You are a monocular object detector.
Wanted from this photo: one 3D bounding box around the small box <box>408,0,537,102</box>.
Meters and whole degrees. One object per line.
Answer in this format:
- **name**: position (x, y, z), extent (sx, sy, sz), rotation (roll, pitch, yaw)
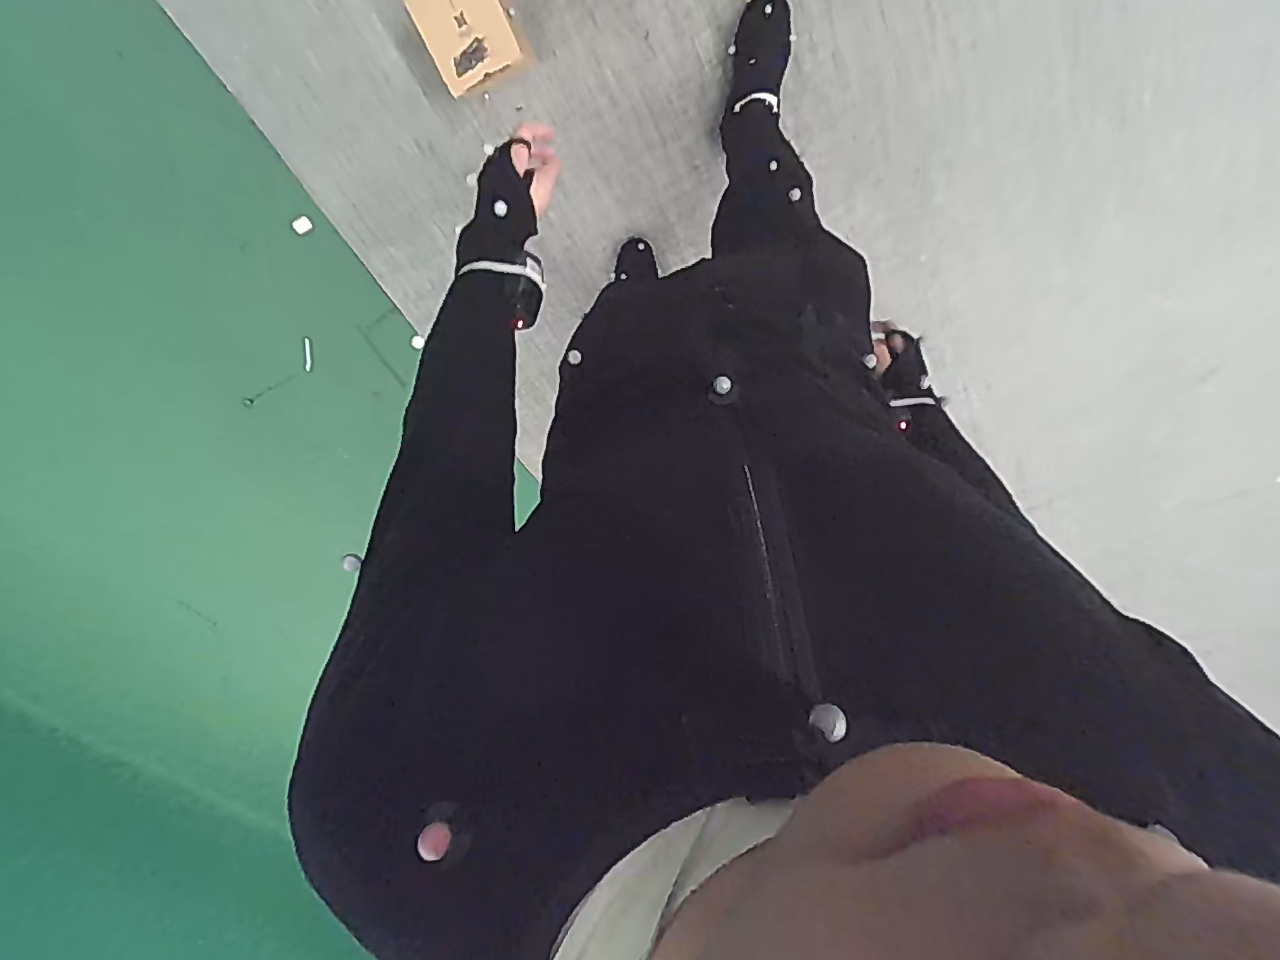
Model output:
- **small box**: position (-0.329, -0.910, 1.109), extent (0.168, 0.176, 0.179), rotation (-19, 122, 14)
